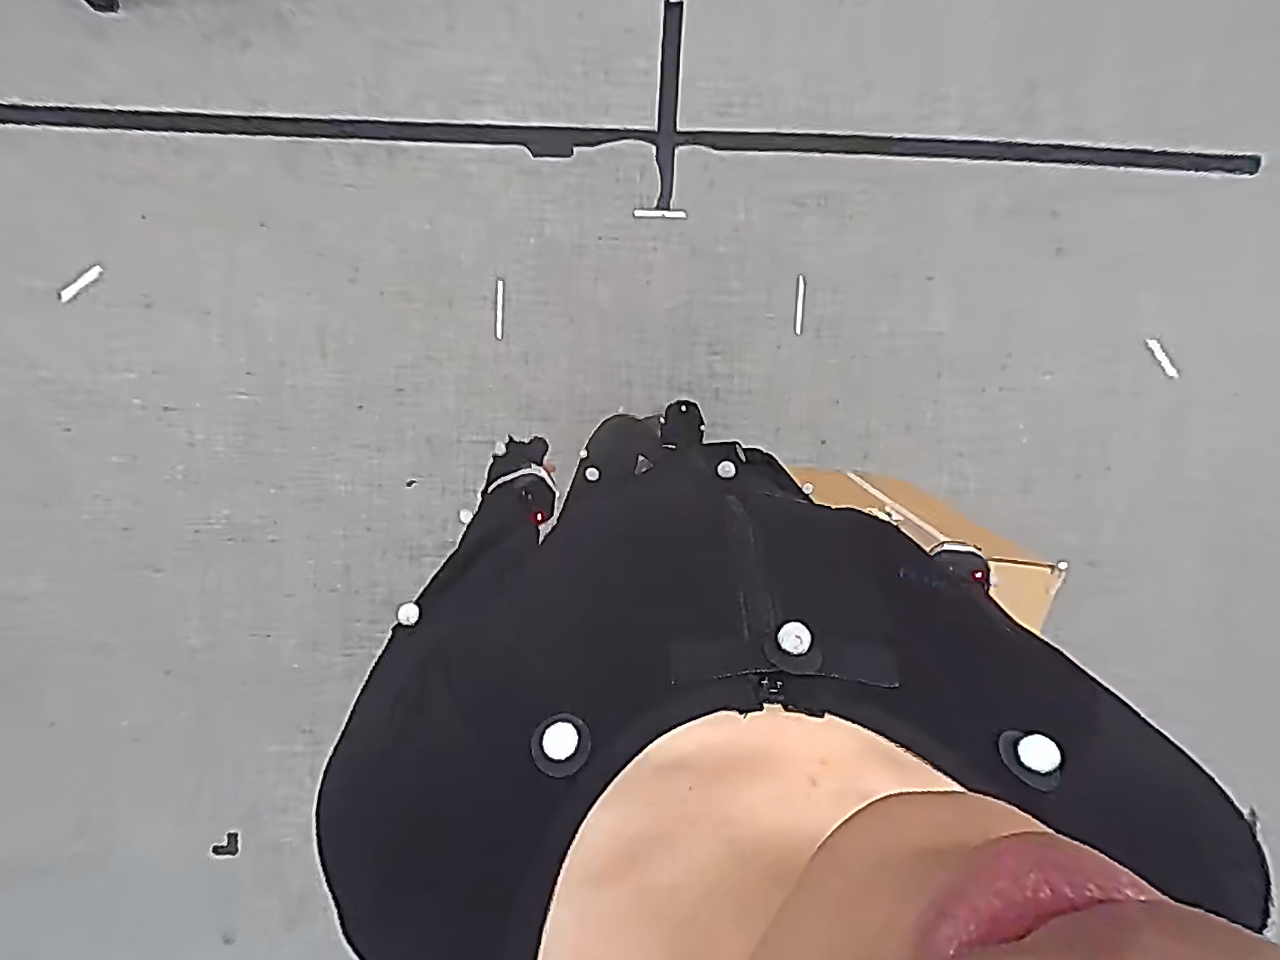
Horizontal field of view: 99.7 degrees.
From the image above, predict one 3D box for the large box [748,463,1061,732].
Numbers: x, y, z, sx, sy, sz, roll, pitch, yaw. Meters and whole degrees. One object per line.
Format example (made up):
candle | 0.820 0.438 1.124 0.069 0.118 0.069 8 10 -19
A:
large box | 0.422 0.186 0.992 0.320 0.408 0.320 5 108 -6
